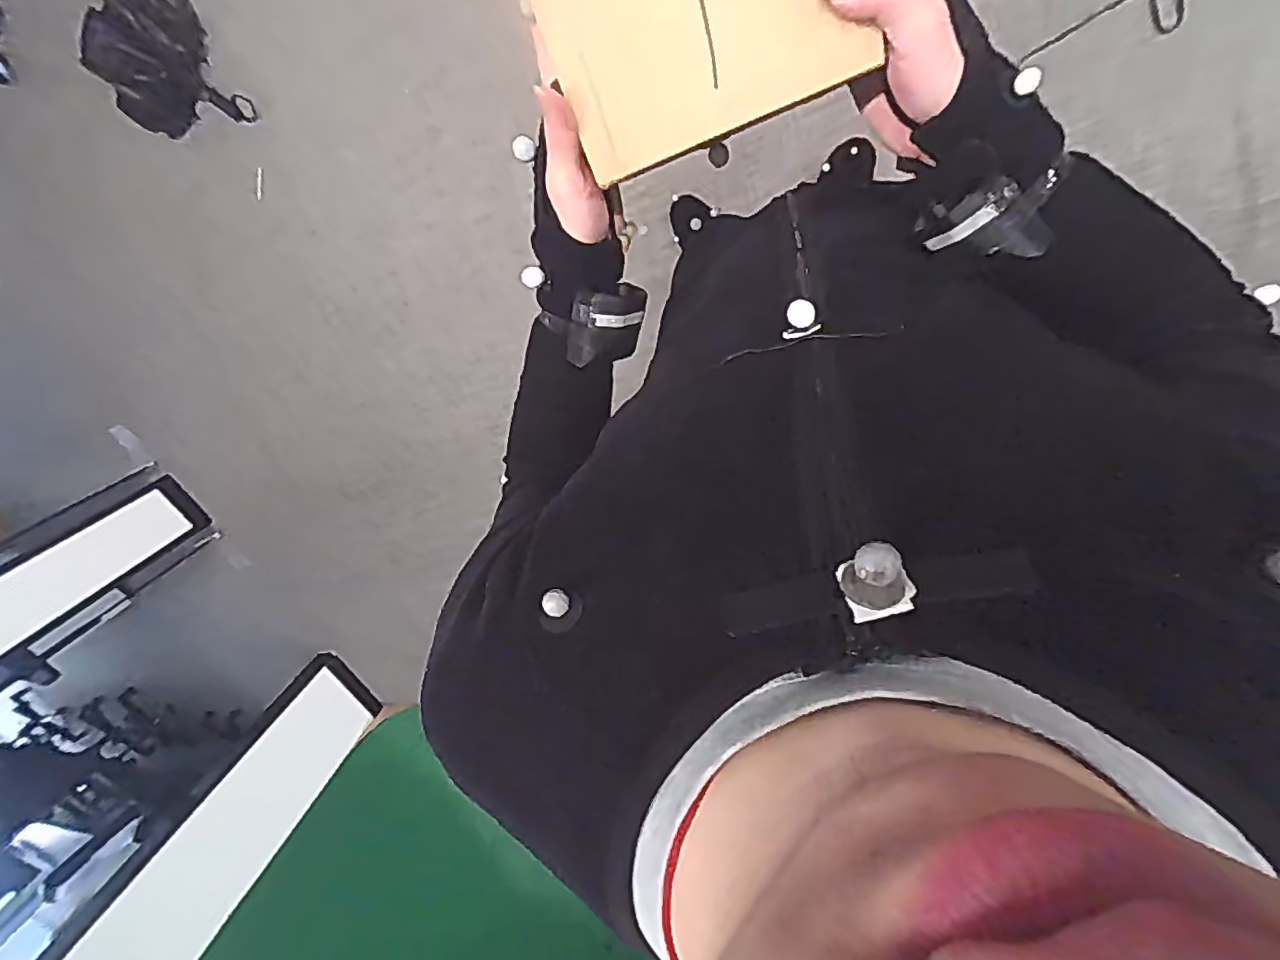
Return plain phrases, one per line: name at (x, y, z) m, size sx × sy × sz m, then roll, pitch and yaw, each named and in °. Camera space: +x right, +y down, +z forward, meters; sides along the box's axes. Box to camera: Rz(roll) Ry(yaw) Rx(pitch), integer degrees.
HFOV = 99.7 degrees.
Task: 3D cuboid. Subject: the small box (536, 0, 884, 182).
small box at (0.030, -0.306, 0.333) m, size 0.168 × 0.176 × 0.179 m, roll -16°, pitch 118°, yaw 15°
